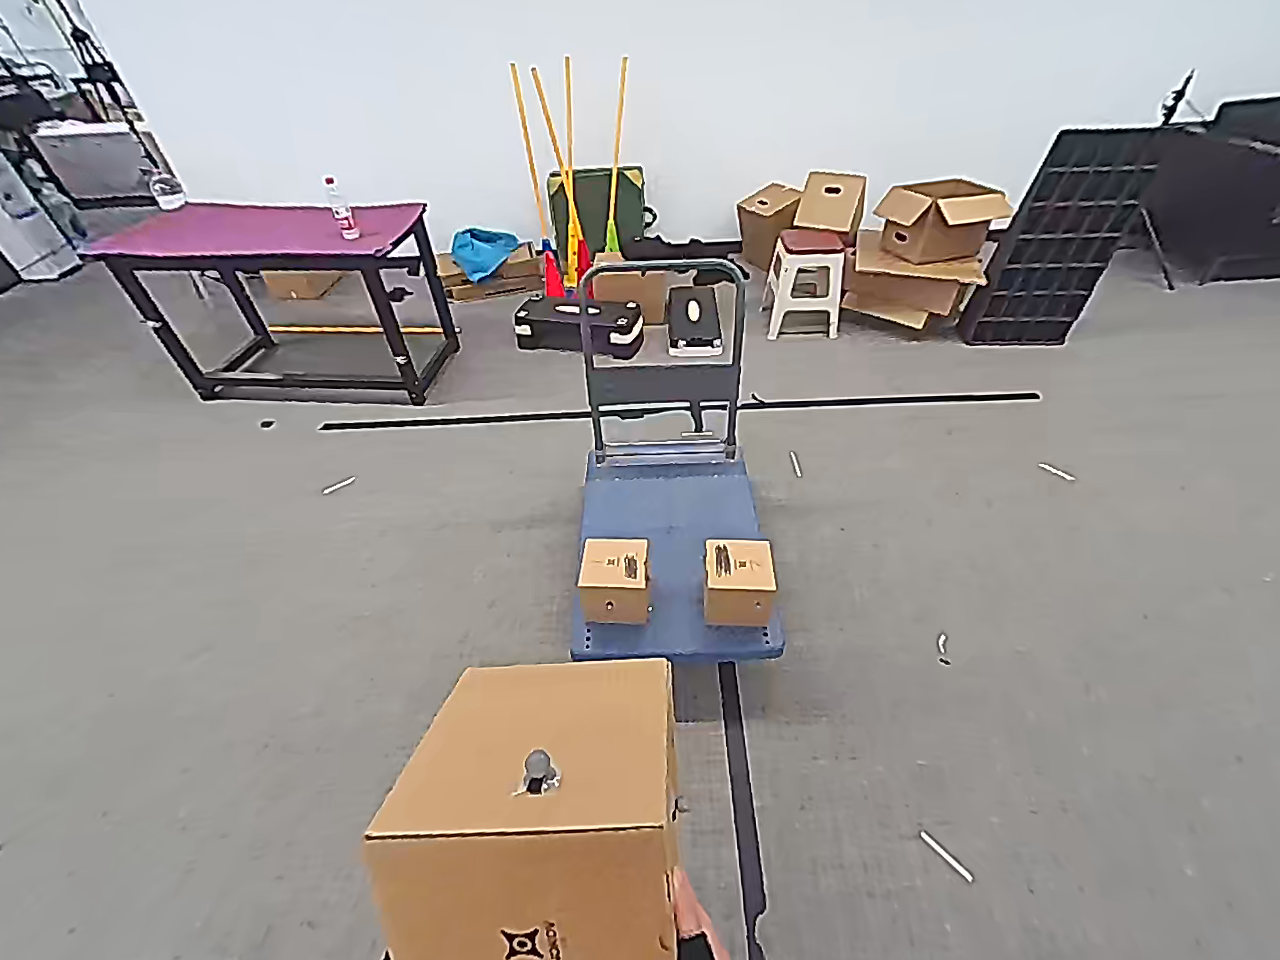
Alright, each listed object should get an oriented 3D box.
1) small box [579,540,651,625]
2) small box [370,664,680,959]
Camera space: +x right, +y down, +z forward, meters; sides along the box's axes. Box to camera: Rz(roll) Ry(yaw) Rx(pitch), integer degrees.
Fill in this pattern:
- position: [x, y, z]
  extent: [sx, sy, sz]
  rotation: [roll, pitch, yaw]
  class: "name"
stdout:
- position: [-0.063, 0.286, 1.493]
  extent: [0.179, 0.176, 0.168]
  rotation: [1, 42, 5]
  class: "small box"
- position: [-0.062, 0.256, 0.402]
  extent: [0.179, 0.168, 0.176]
  rotation: [-4, 14, 3]
  class: "small box"
